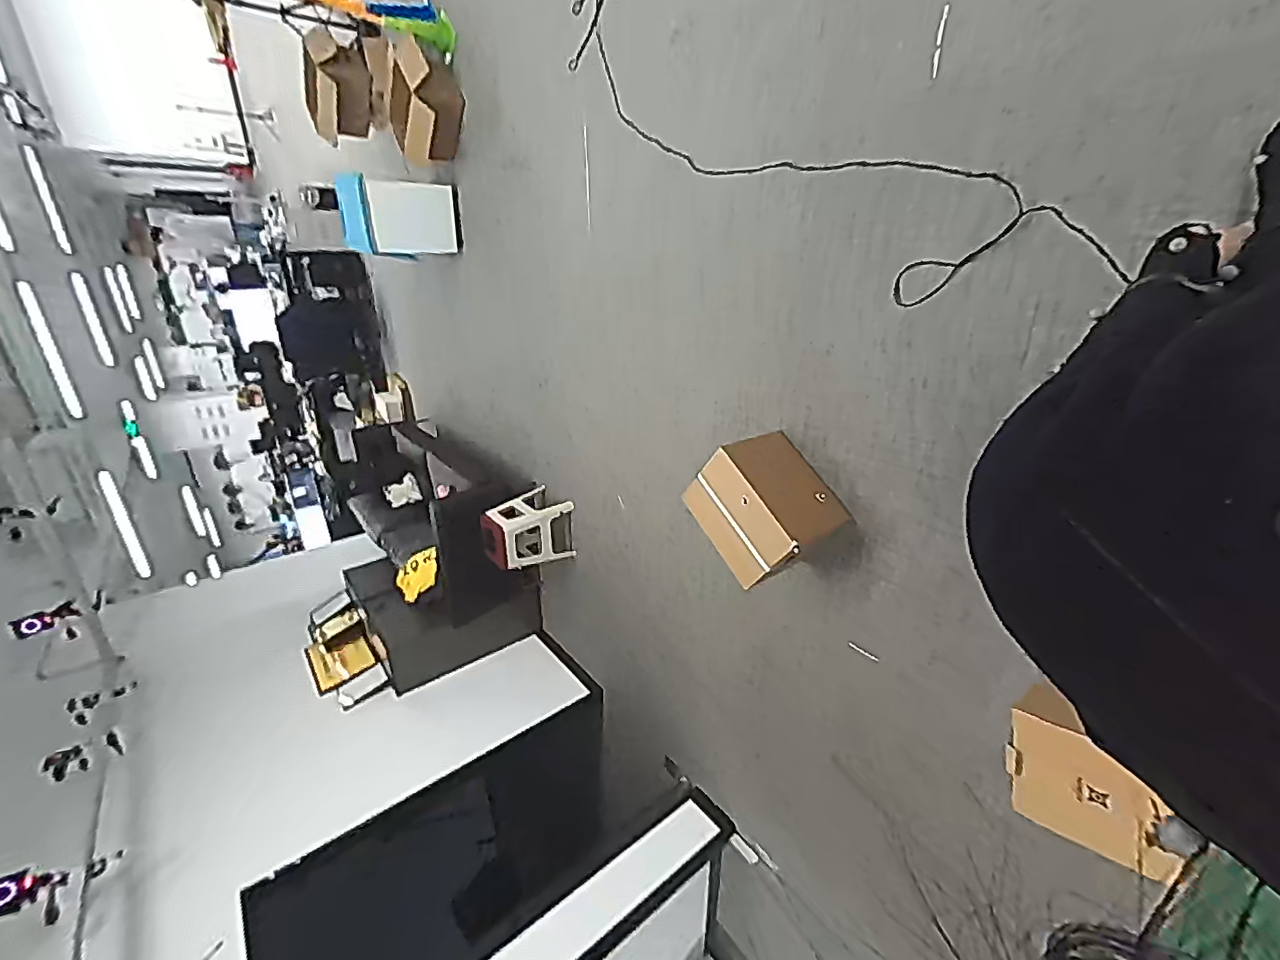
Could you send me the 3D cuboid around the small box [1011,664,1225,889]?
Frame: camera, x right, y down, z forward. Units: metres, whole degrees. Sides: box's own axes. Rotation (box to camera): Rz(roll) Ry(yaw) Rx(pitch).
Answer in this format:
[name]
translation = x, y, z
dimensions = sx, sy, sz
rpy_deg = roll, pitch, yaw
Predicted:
[small box]
translation = 0.627, 0.369, 0.718
dimensions = 0.179, 0.176, 0.168
rpy_deg = 8, 110, 54
